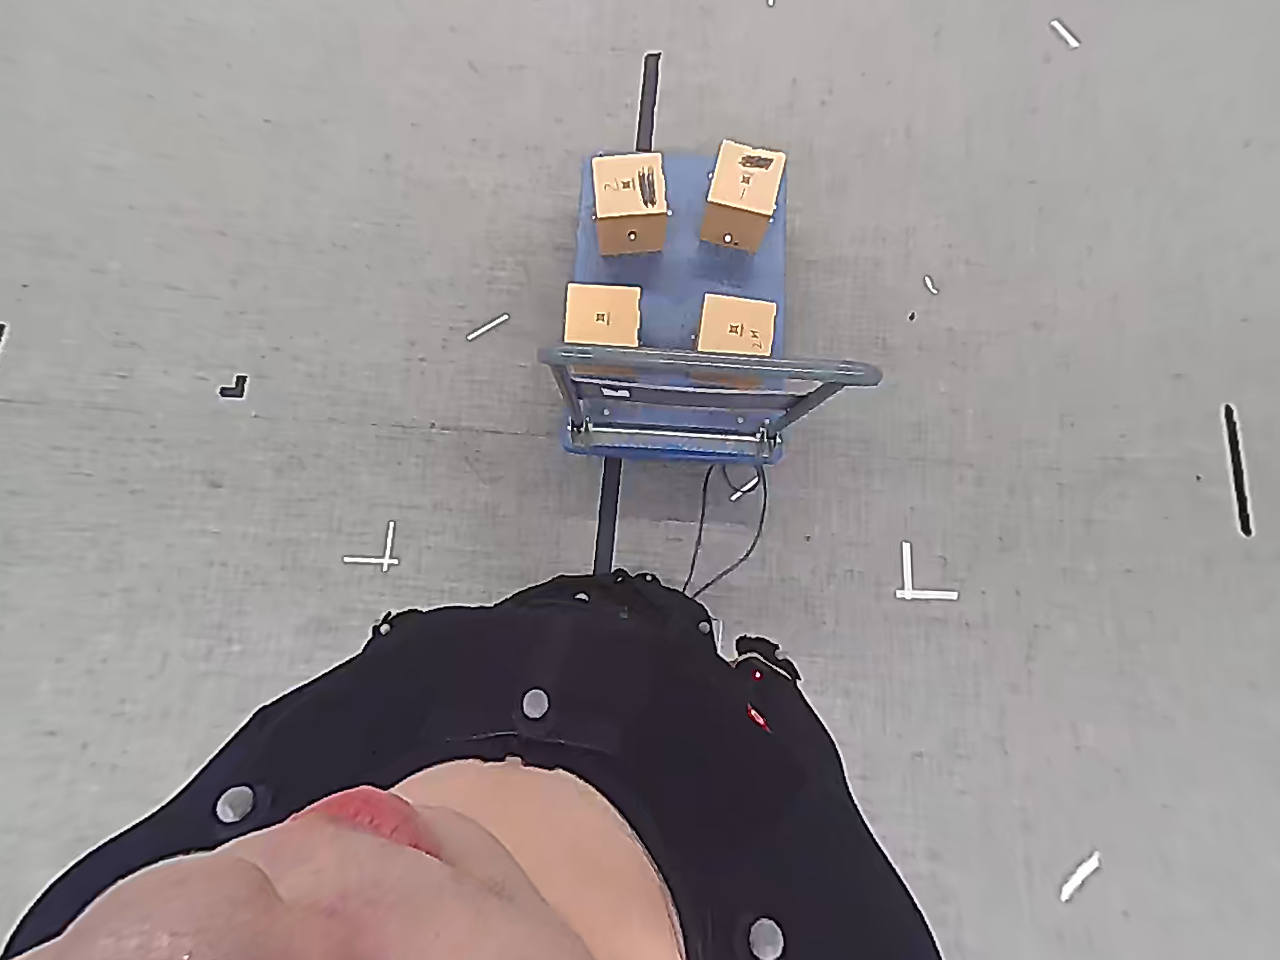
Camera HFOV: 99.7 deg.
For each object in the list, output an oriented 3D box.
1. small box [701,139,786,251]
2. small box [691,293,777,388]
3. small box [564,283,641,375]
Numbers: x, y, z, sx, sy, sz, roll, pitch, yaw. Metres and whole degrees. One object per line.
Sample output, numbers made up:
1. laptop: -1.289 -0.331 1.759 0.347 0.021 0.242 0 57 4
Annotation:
1. small box: 0.262 -0.737 1.412 0.168 0.176 0.179 14 82 1
2. small box: 0.226 -0.341 1.350 0.179 0.176 0.168 9 81 0
3. small box: -0.090 -0.371 1.349 0.179 0.176 0.168 2 81 -2
